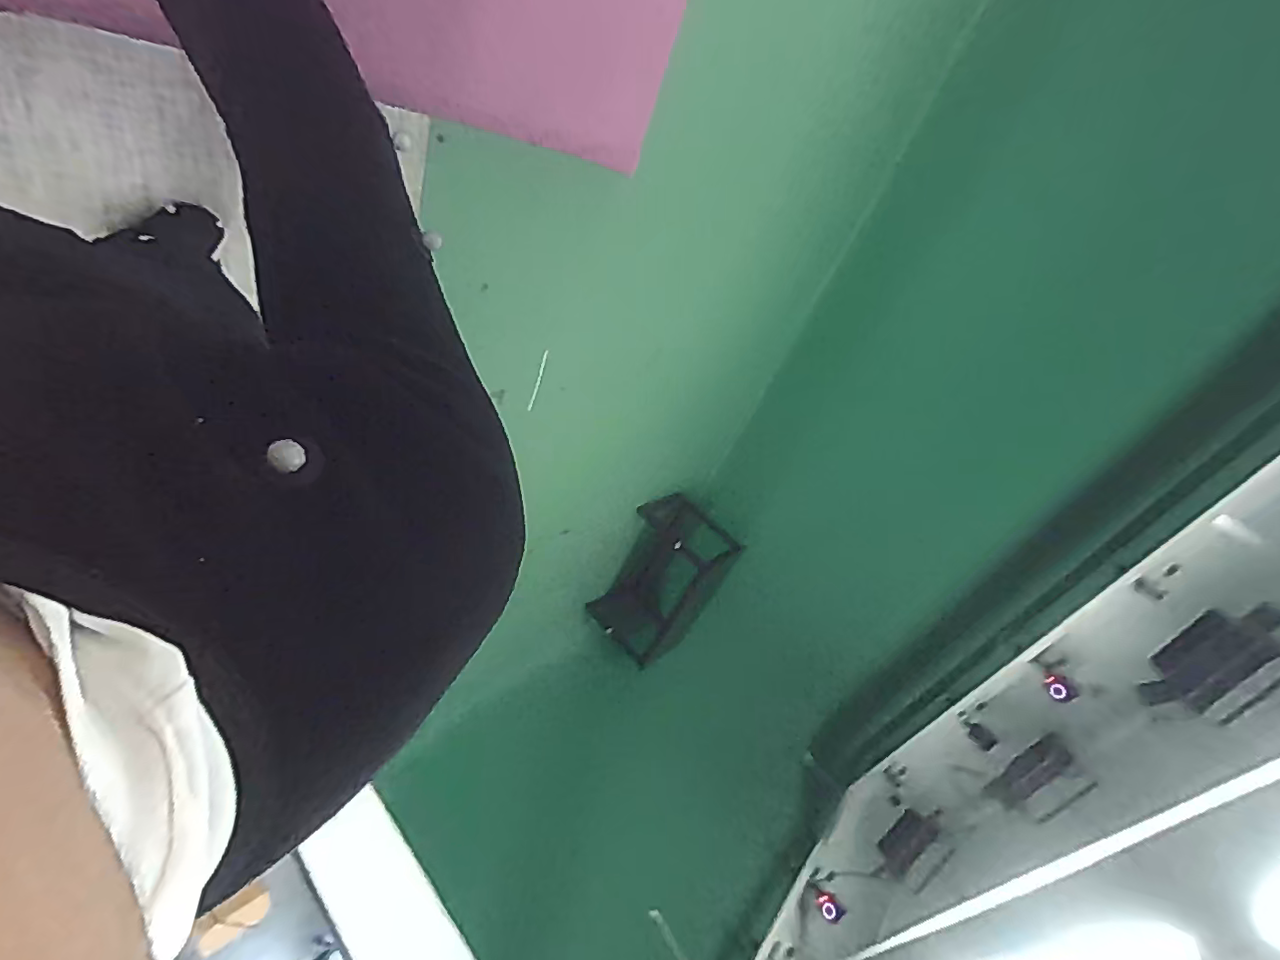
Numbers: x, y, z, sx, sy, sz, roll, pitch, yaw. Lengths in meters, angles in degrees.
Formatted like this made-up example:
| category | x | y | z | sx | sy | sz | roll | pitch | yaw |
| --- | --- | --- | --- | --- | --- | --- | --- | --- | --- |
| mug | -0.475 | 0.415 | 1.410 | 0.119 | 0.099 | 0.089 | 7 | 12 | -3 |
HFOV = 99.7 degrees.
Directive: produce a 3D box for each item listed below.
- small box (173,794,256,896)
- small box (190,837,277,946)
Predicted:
| category | x | y | z | sx | sy | sz | roll | pitch | yaw |
| --- | --- | --- | --- | --- | --- | --- | --- | --- | --- |
| small box | -1.324 | 1.129 | 1.685 | 0.168 | 0.176 | 0.179 | -17 | 139 | -49 |
| small box | -1.206 | 1.215 | 1.608 | 0.168 | 0.176 | 0.179 | -19 | 141 | -48 |
